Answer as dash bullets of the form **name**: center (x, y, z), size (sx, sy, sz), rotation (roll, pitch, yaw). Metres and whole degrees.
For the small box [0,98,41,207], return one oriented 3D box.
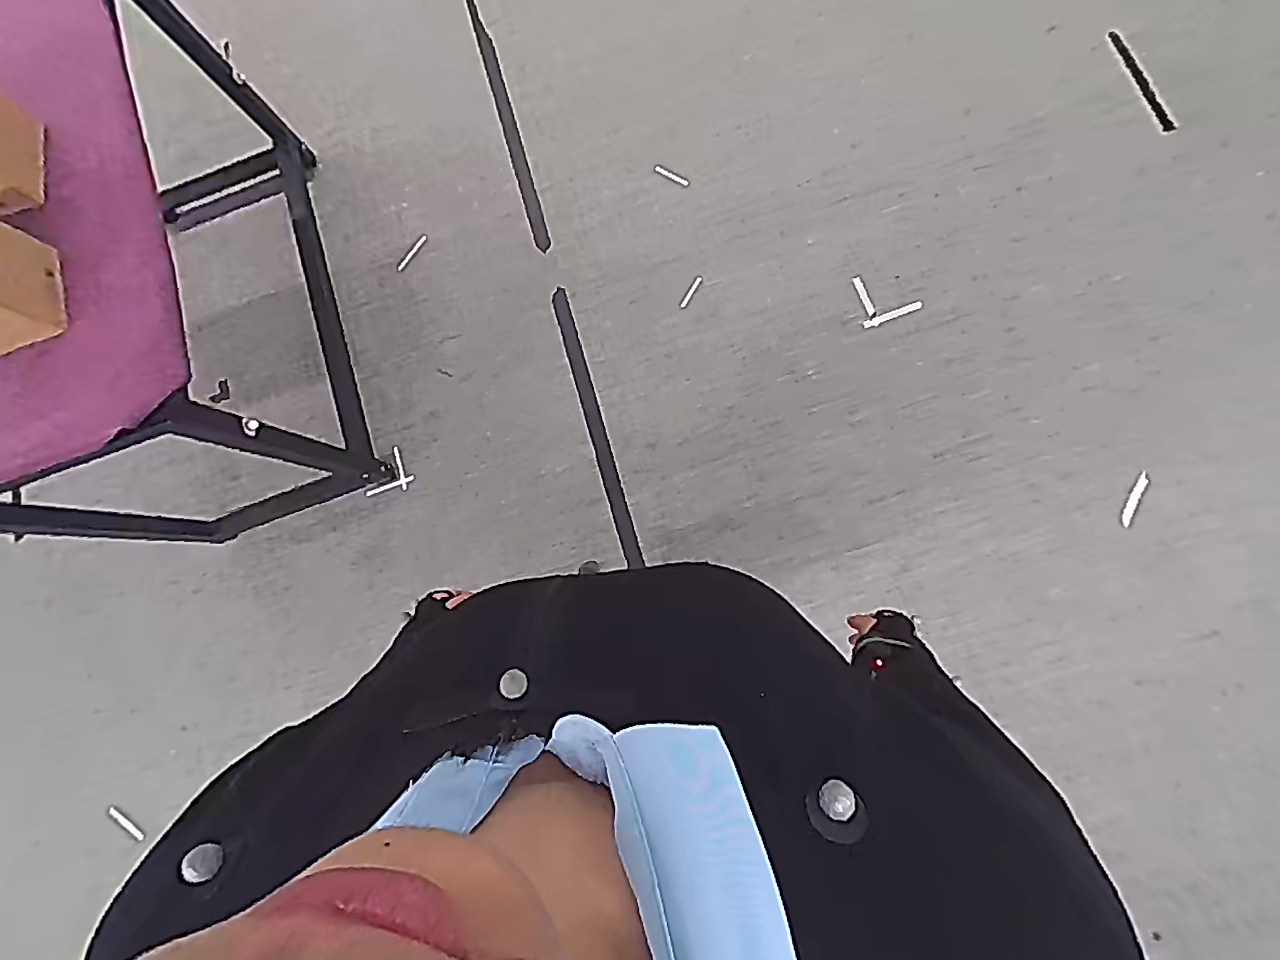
- **small box**: center (-1.189, -0.584, 0.920), size (0.168, 0.176, 0.179), rotation (-11, 80, 3)
